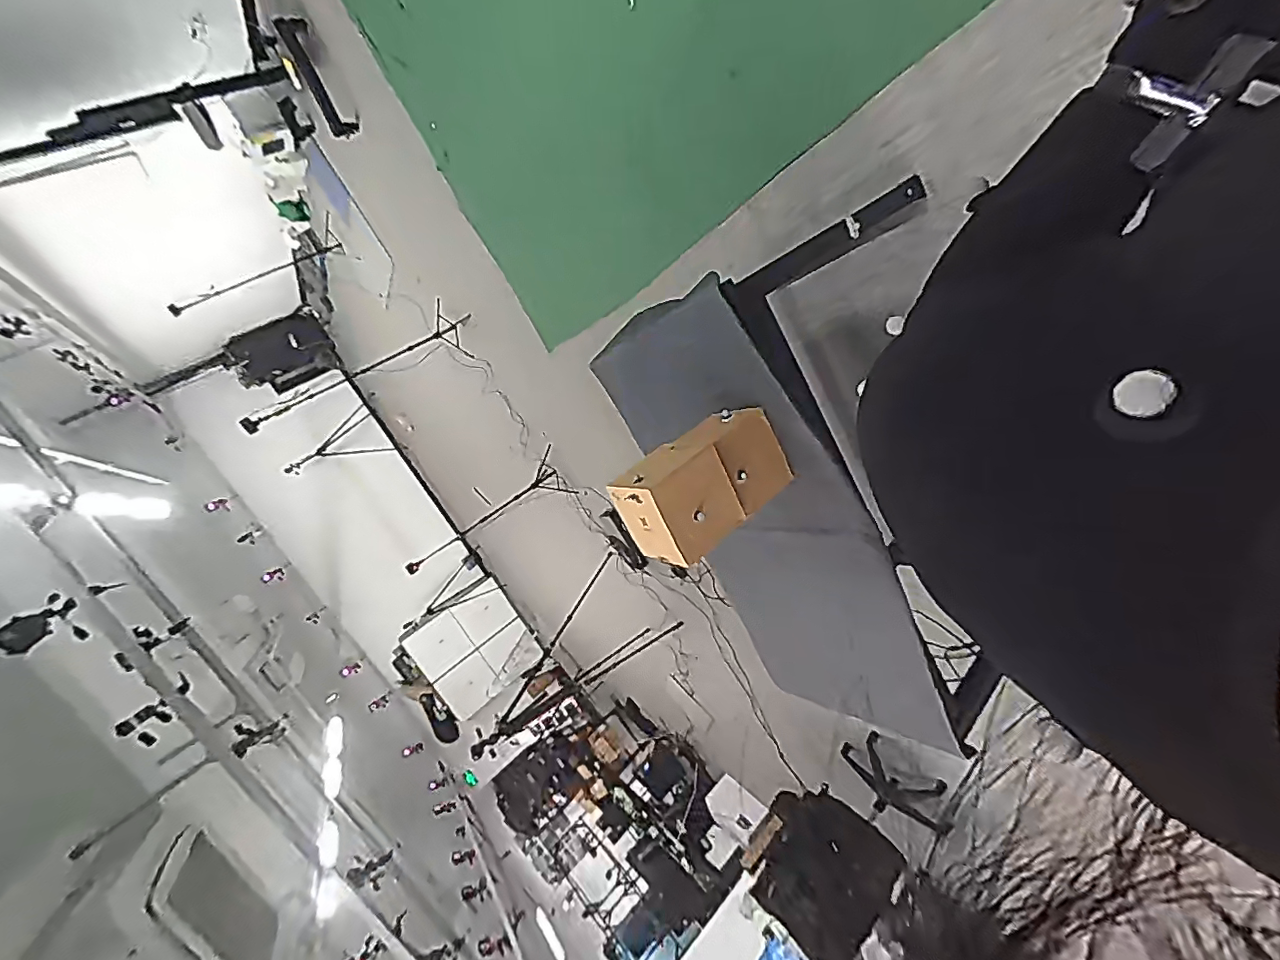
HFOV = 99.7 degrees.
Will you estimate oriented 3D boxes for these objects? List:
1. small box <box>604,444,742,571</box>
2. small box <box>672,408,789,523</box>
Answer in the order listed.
[{"bbox_3d":[0.068,0.046,1.053,0.168,0.176,0.179,3,126,57],"label":"small box"},{"bbox_3d":[0.184,-0.031,1.143,0.168,0.176,0.179,-2,120,59],"label":"small box"}]
